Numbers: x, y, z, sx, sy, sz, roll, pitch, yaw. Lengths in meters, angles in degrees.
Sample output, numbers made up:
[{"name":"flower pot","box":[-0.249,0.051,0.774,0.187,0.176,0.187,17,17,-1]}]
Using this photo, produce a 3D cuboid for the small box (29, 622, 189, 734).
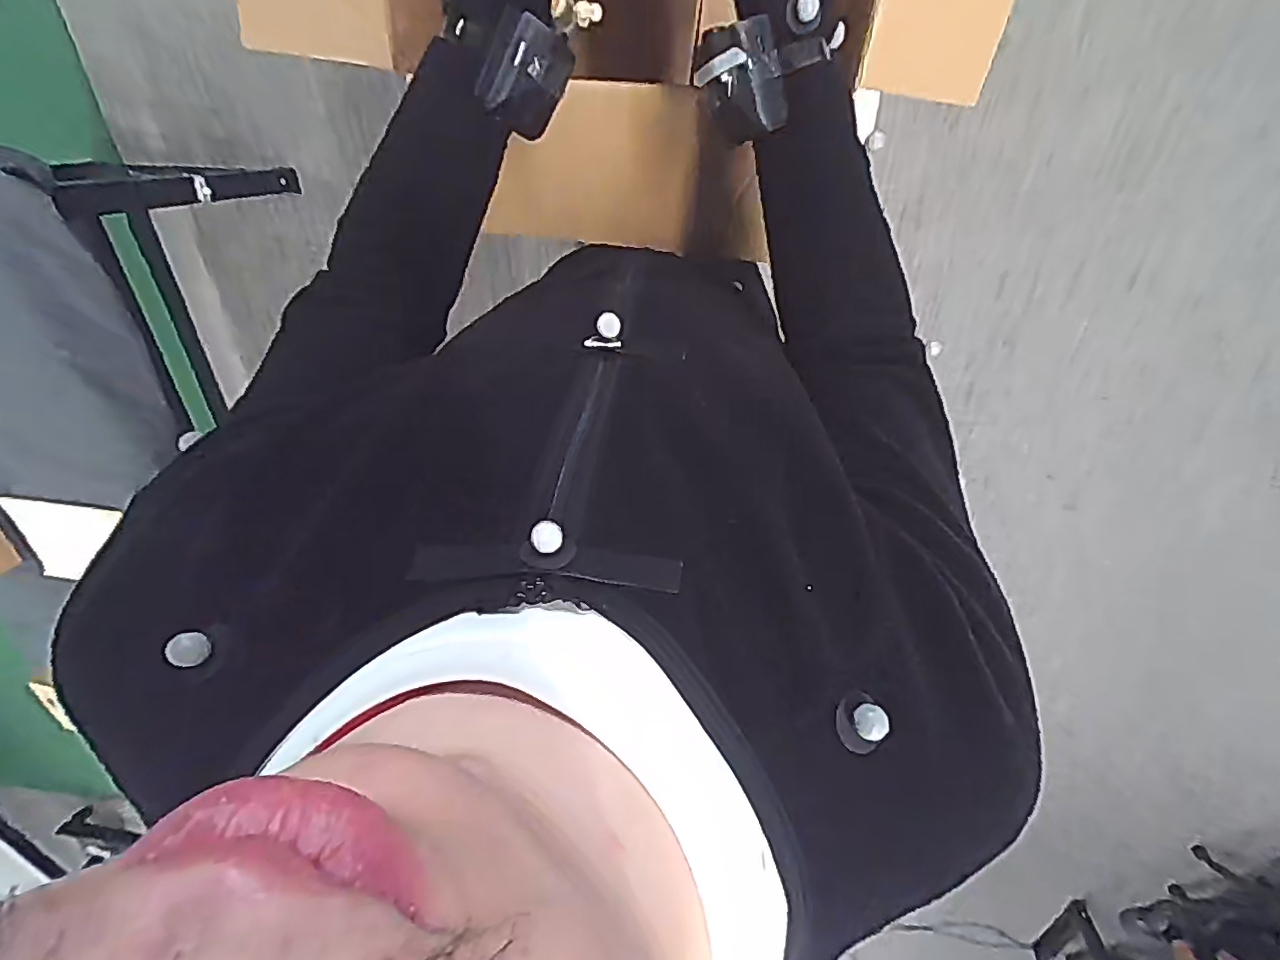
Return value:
[{"name":"small box","box":[-1.182,0.445,1.228,0.179,0.176,0.168,6,122,4]}]
